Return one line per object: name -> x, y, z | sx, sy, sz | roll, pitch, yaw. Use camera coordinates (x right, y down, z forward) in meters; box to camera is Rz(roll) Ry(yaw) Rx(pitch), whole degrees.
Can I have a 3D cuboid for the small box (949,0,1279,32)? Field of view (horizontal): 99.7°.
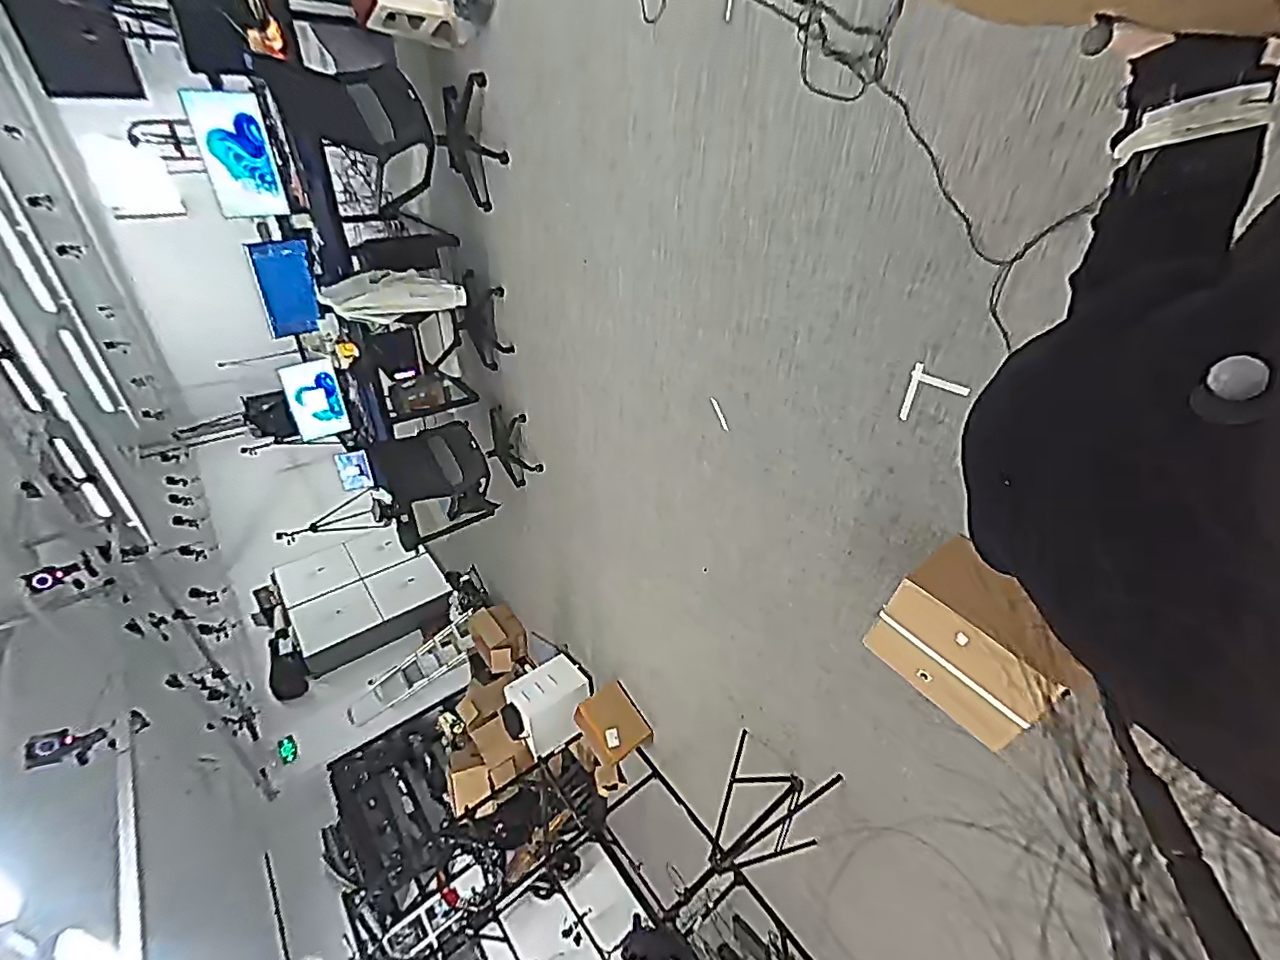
small box -> 0.259, -0.332, 0.255 | 0.179, 0.176, 0.168 | 40, 136, 35
